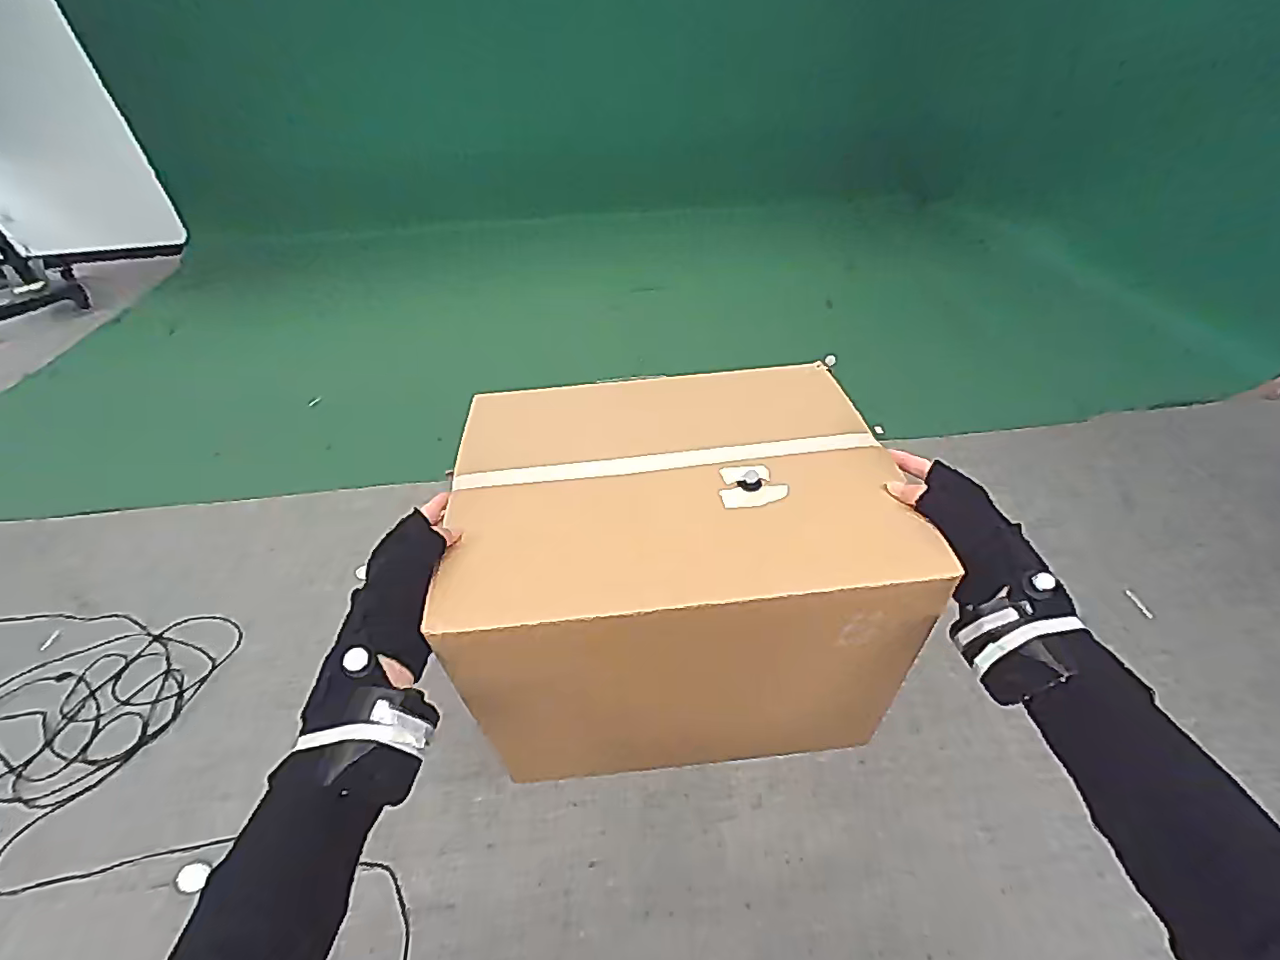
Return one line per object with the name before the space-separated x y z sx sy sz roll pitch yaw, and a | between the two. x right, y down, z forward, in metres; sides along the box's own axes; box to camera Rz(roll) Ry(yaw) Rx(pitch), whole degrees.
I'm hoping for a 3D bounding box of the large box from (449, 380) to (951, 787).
large box | 0.040 0.111 0.621 0.408 0.320 0.320 -5 42 -3
